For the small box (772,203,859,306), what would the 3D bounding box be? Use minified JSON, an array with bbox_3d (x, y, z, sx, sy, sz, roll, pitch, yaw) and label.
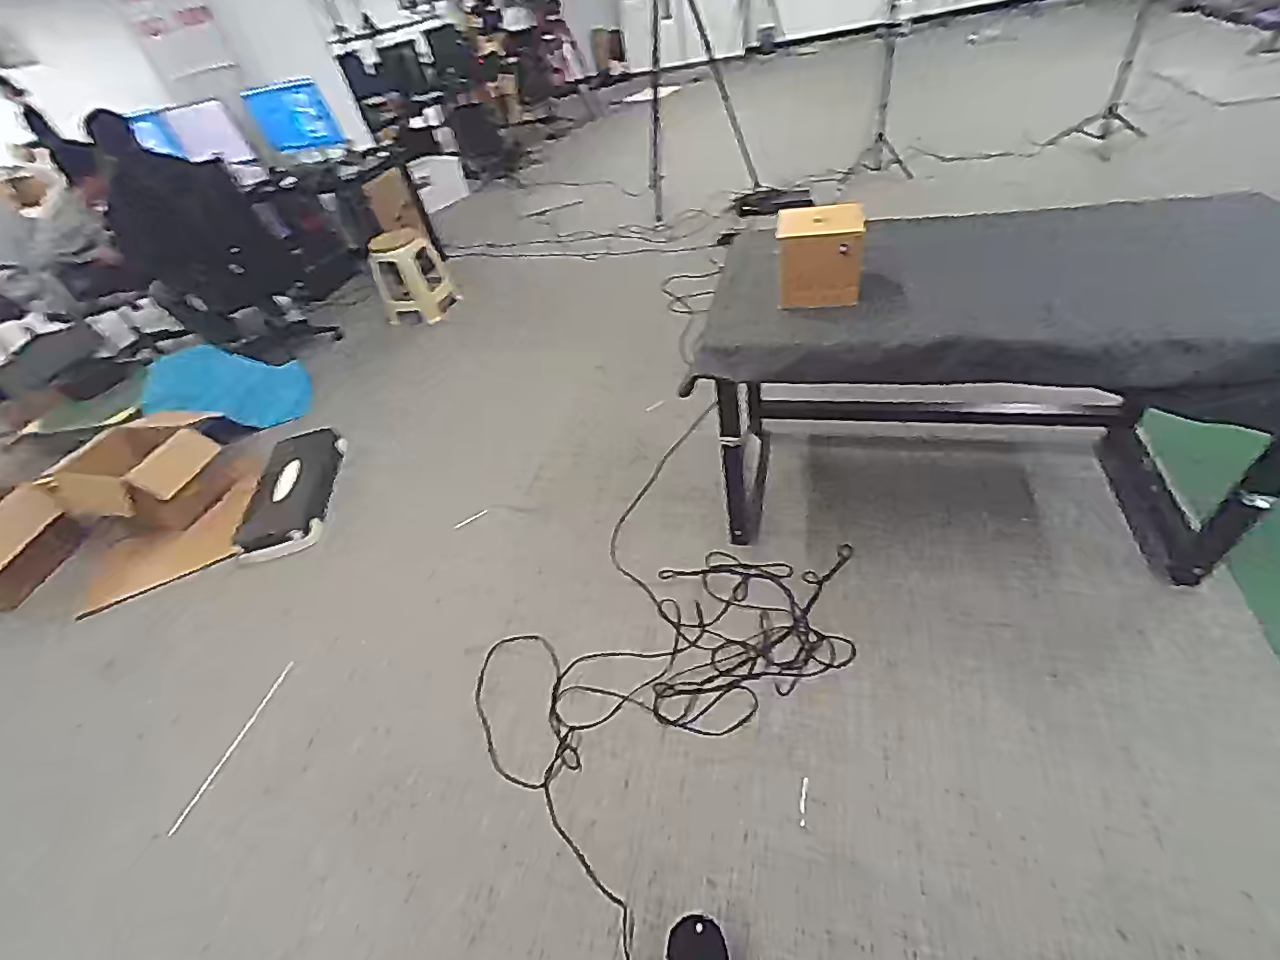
[{"bbox_3d":[0.395,-0.509,1.232,0.179,0.176,0.168,2,45,15],"label":"small box"}]
